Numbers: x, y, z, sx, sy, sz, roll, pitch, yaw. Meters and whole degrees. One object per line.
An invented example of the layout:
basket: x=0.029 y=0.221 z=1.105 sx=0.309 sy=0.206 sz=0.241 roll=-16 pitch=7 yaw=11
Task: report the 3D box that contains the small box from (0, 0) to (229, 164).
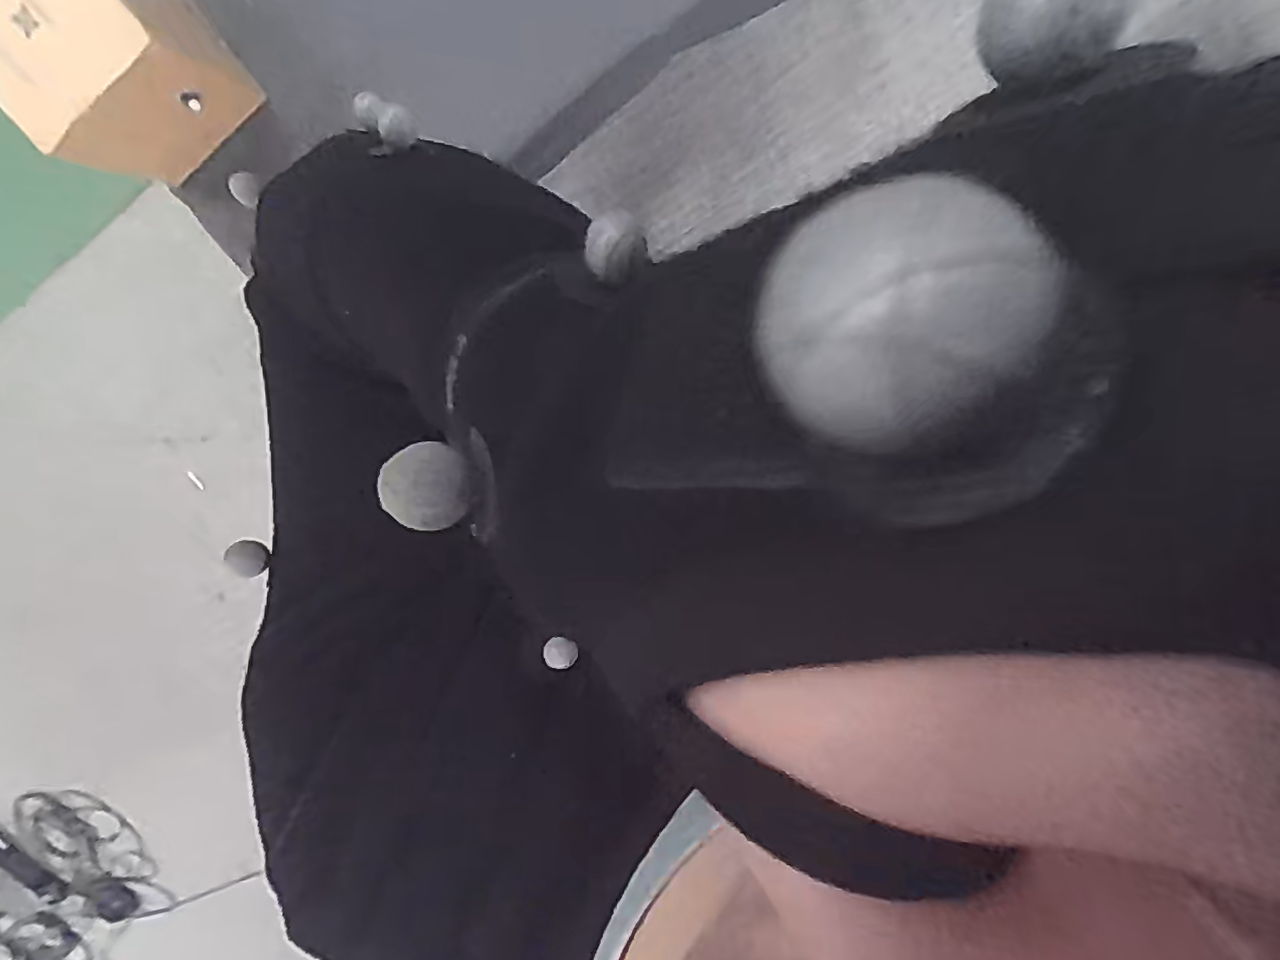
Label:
small box: x=-0.579 y=-0.466 z=0.554 sx=0.179 sy=0.176 sz=0.168 roll=-33 pitch=105 yaw=11
